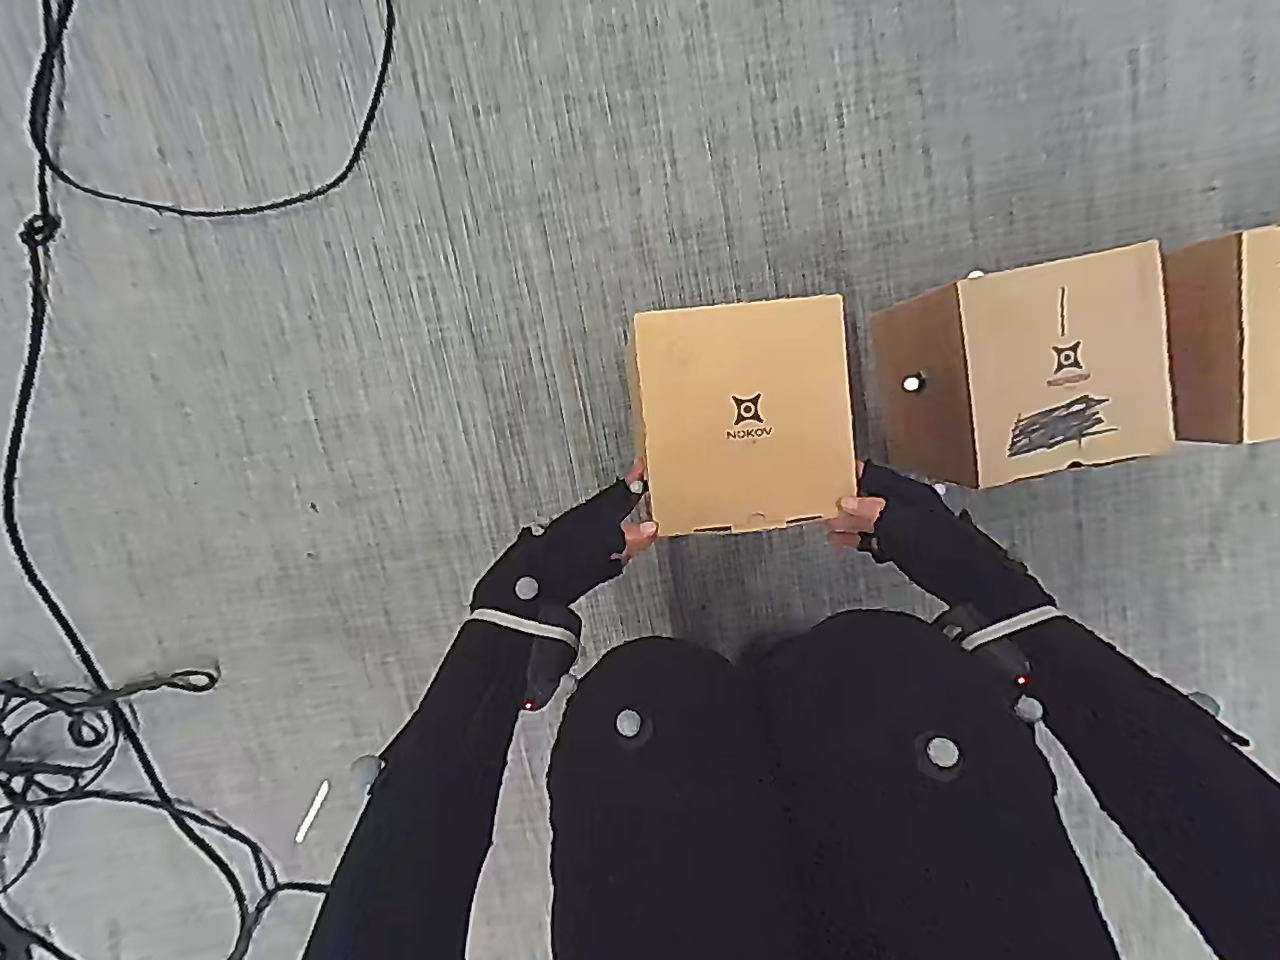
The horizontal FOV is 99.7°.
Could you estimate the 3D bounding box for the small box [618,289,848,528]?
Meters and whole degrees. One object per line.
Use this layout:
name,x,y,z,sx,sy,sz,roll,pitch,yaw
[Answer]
small box,0.070,-0.058,0.499,0.168,0.176,0.179,-6,93,-3

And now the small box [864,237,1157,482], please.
small box,0.337,-0.107,0.523,0.168,0.176,0.179,-11,97,2
